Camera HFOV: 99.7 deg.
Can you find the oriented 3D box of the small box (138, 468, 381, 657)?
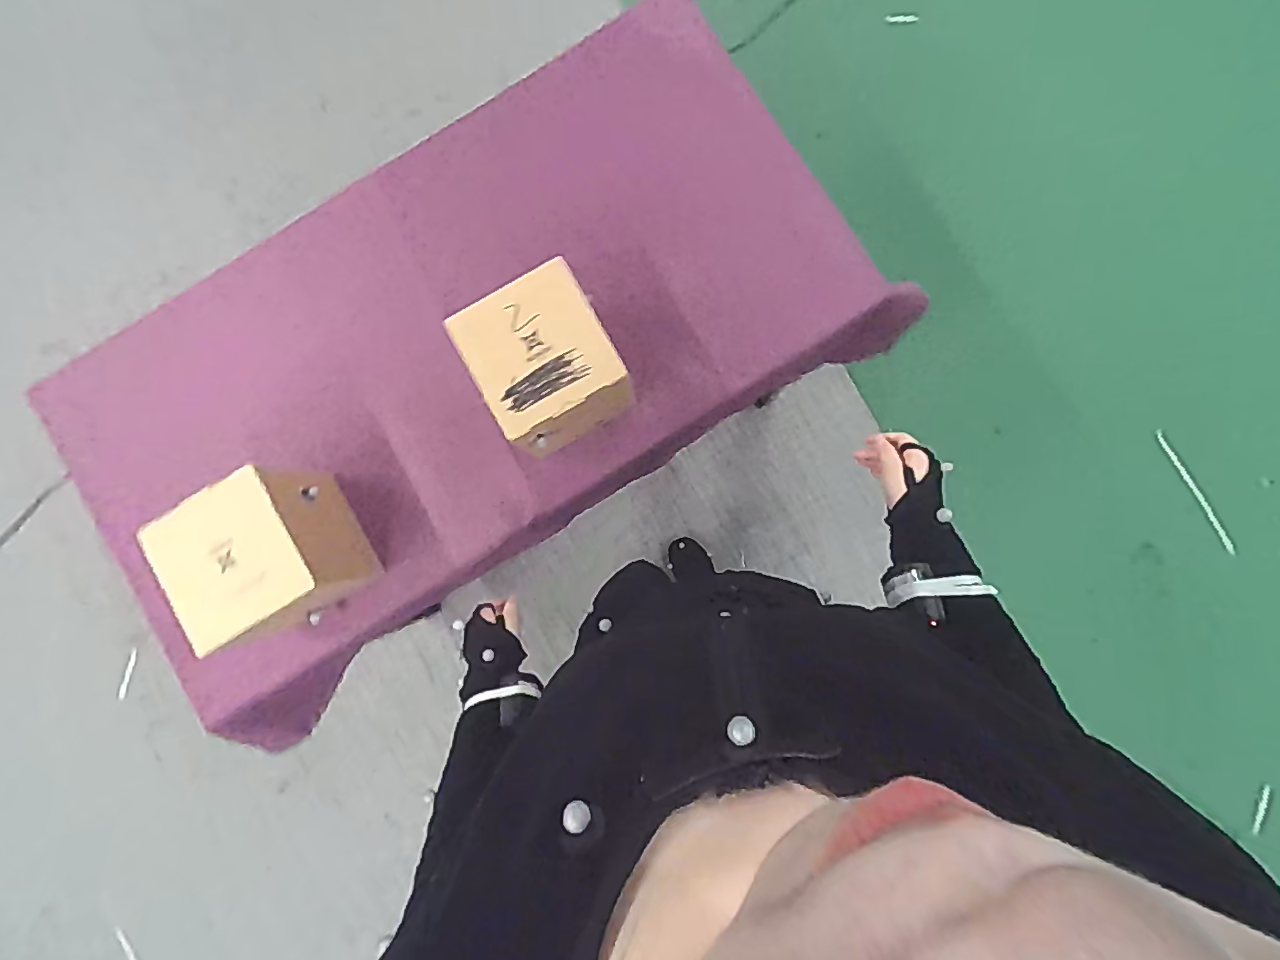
[{"bbox_3d":[-0.495,0.105,0.730,0.168,0.176,0.179,-32,85,1],"label":"small box"}]
